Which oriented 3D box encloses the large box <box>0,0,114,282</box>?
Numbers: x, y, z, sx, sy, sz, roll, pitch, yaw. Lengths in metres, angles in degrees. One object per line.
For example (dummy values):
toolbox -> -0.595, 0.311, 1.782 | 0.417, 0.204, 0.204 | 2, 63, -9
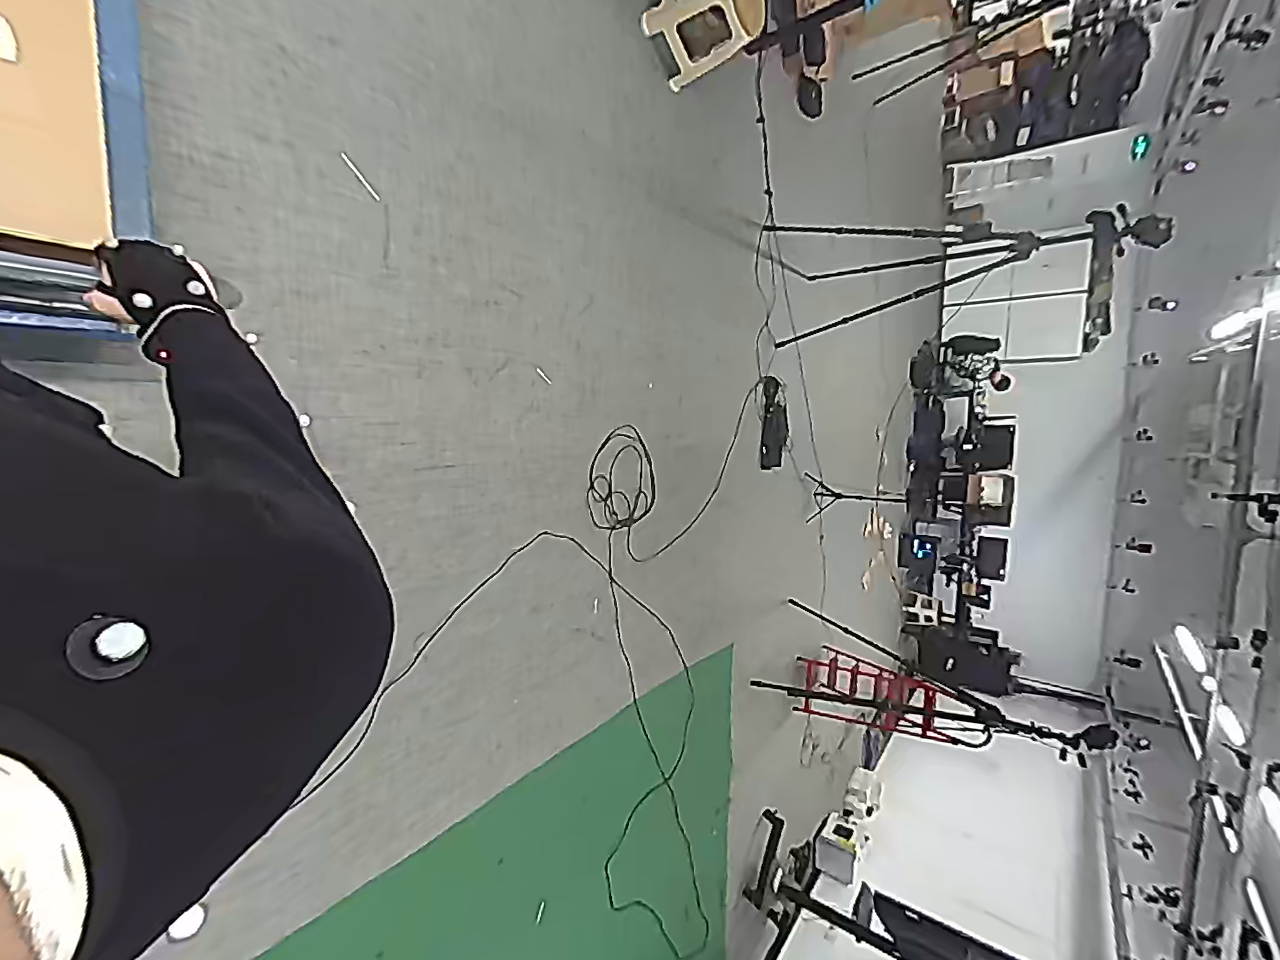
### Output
large box -> -1.051, -0.550, 0.810 | 0.320, 0.320, 0.408 | -8, 99, -52
